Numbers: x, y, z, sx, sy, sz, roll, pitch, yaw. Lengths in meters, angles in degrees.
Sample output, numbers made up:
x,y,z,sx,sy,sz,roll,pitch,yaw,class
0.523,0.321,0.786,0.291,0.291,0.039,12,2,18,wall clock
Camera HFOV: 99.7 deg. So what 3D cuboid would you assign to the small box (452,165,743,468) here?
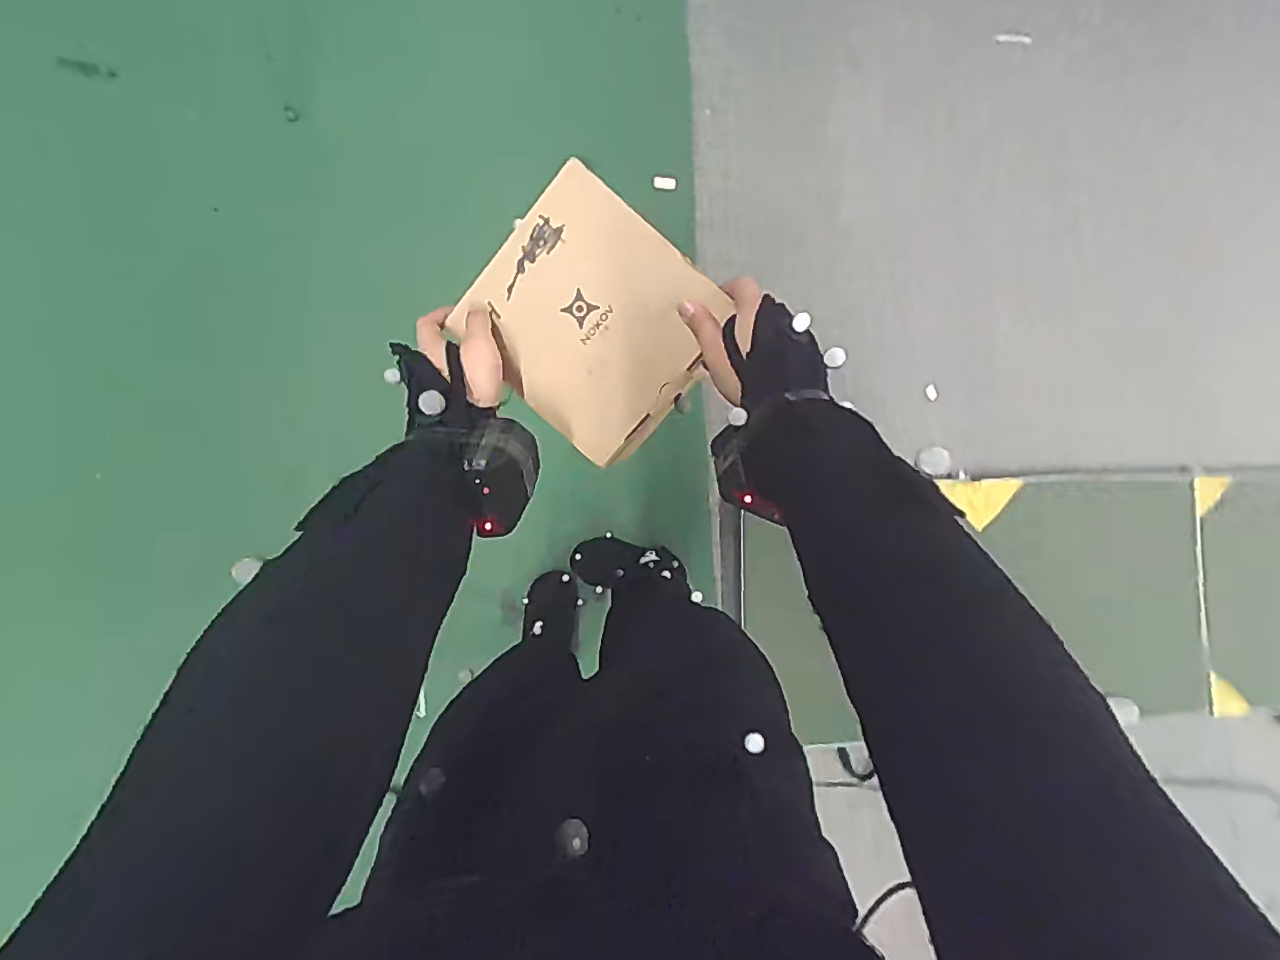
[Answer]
x,y,z,sx,sy,sz,roll,pitch,yaw,class
-0.028,-0.135,0.502,0.179,0.176,0.168,44,98,0,small box
